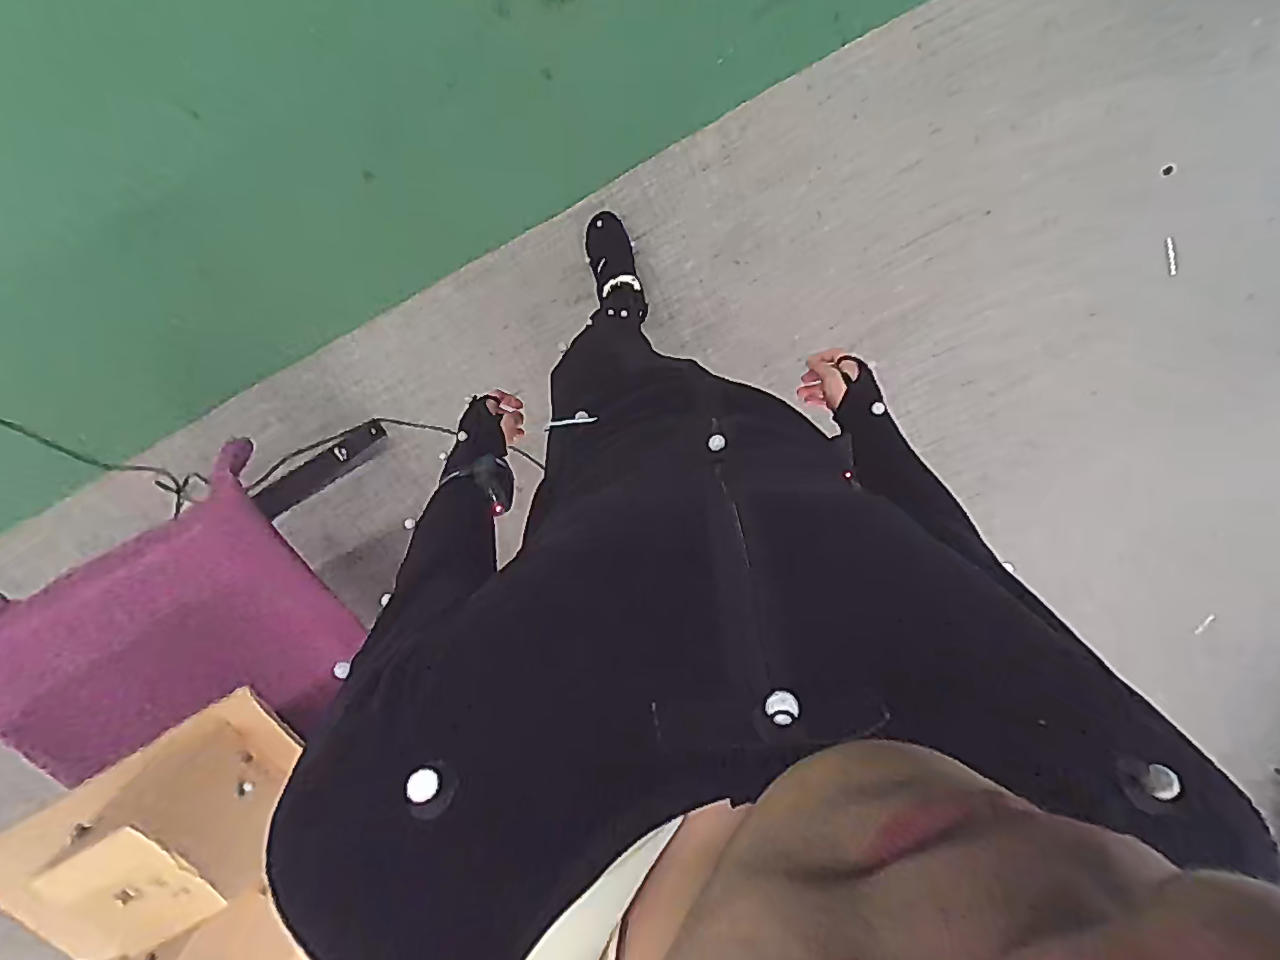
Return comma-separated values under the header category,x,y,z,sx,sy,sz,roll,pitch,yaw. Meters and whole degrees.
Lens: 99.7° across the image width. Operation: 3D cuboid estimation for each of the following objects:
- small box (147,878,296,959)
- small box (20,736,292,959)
category,x,y,z,sx,sy,sz,roll,pitch,yaw
small box,-0.658,0.745,0.806,0.179,0.176,0.168,-31,105,7
small box,-0.629,0.493,0.731,0.179,0.176,0.168,-30,107,6
